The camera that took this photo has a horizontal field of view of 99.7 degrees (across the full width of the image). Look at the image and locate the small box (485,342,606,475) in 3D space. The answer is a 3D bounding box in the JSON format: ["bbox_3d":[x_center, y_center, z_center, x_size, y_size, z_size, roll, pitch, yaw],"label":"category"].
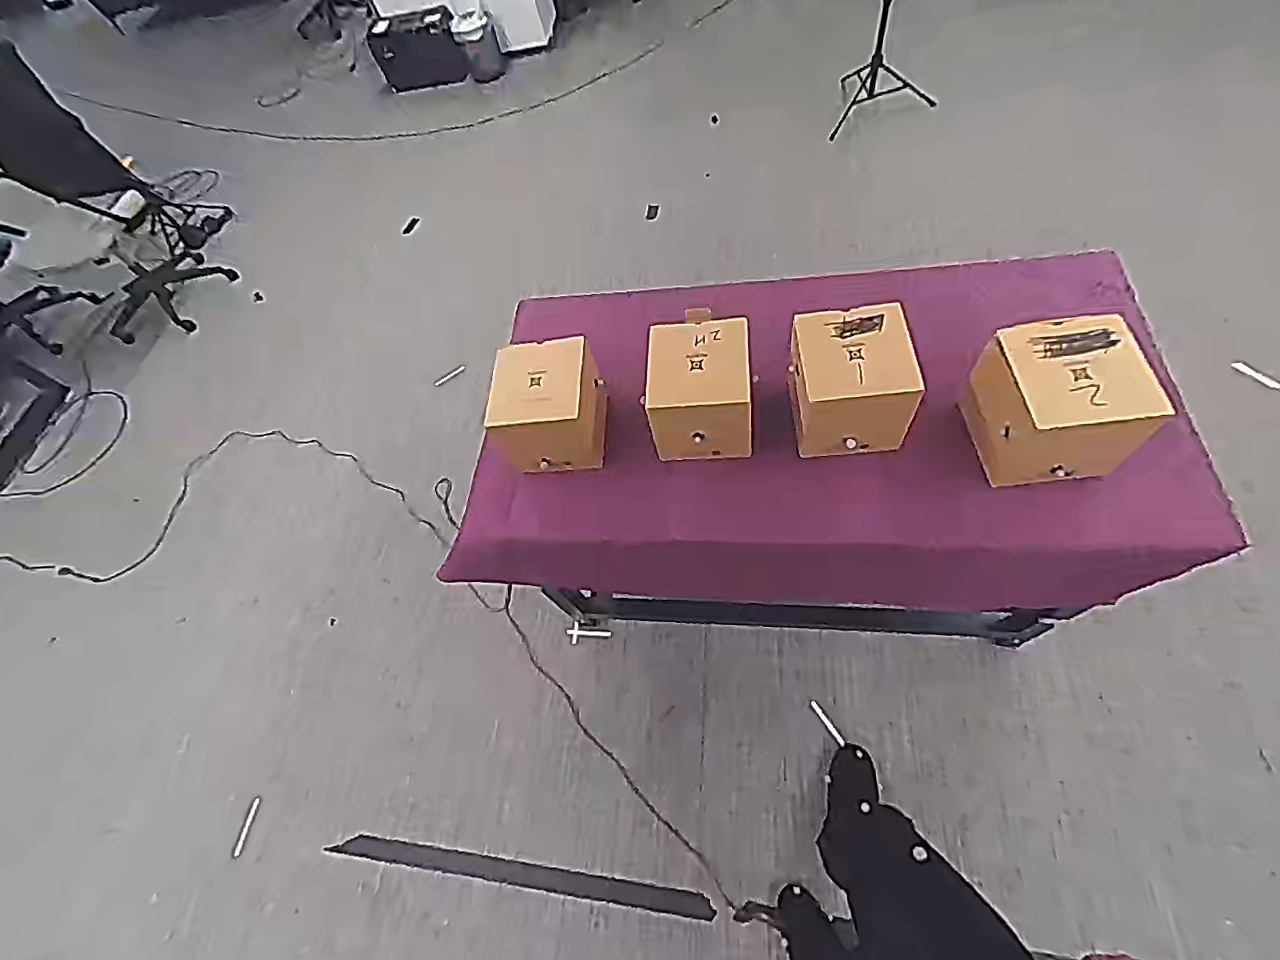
[{"bbox_3d":[-0.163,-0.127,0.999,0.168,0.176,0.179,-4,60,10],"label":"small box"}]

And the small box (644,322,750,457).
[{"bbox_3d":[0.107,-0.149,0.953,0.168,0.176,0.179,-2,61,11],"label":"small box"}]

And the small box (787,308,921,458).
[{"bbox_3d":[0.344,-0.157,0.908,0.168,0.176,0.179,-5,61,9],"label":"small box"}]
